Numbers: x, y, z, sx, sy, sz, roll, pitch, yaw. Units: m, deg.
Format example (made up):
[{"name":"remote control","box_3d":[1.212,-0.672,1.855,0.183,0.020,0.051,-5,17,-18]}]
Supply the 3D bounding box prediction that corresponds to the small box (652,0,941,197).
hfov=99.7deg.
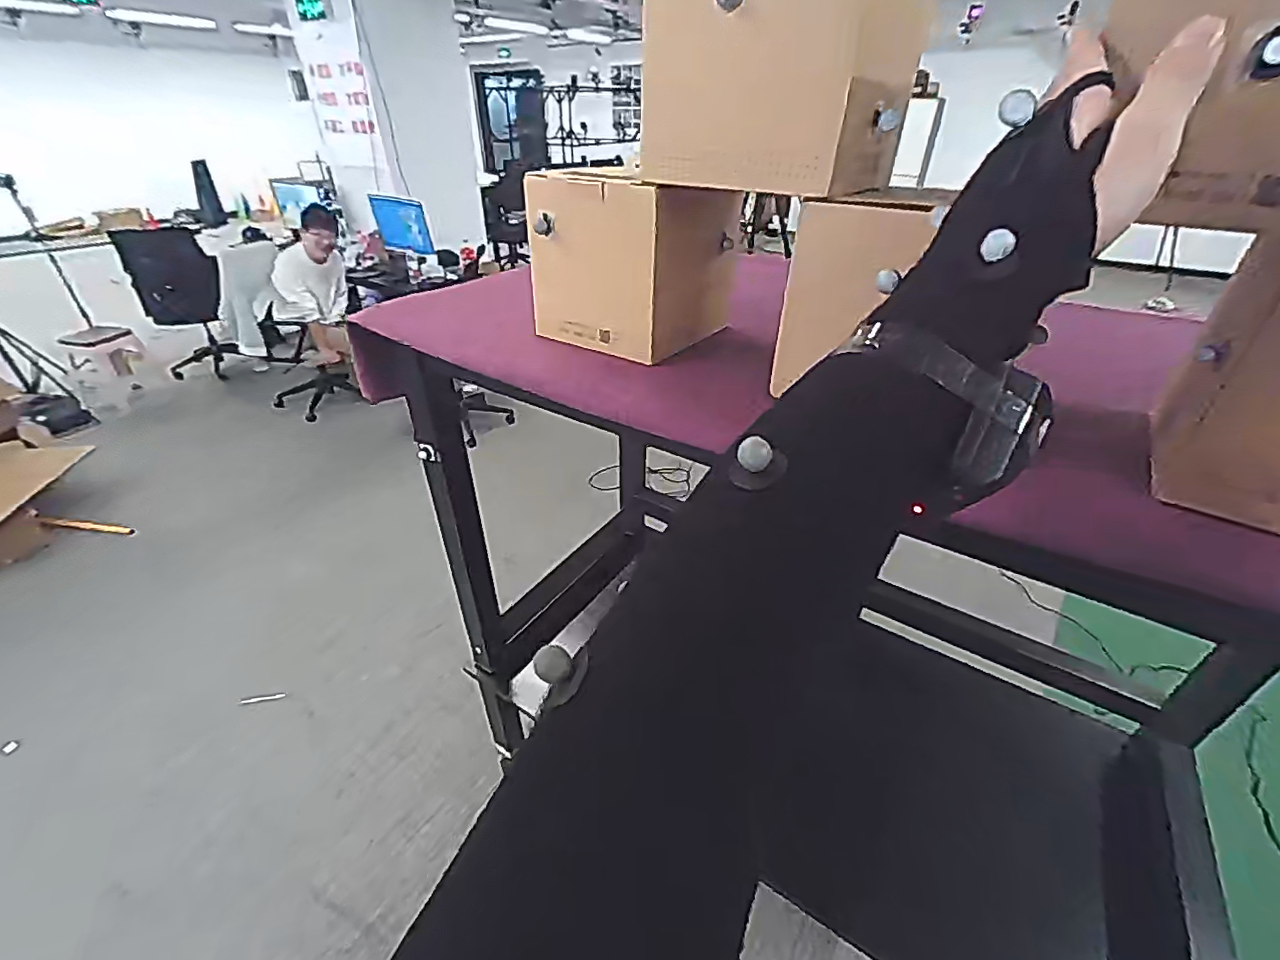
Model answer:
[{"name":"small box","box_3d":[0.122,-0.336,0.447,0.179,0.176,0.168,23,39,29]}]

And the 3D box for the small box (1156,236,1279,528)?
[{"name":"small box","box_3d":[0.468,-0.060,0.336,0.168,0.176,0.179,25,39,31]}]

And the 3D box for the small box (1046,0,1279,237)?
[{"name":"small box","box_3d":[0.368,-0.243,0.312,0.168,0.176,0.179,24,39,31]}]
